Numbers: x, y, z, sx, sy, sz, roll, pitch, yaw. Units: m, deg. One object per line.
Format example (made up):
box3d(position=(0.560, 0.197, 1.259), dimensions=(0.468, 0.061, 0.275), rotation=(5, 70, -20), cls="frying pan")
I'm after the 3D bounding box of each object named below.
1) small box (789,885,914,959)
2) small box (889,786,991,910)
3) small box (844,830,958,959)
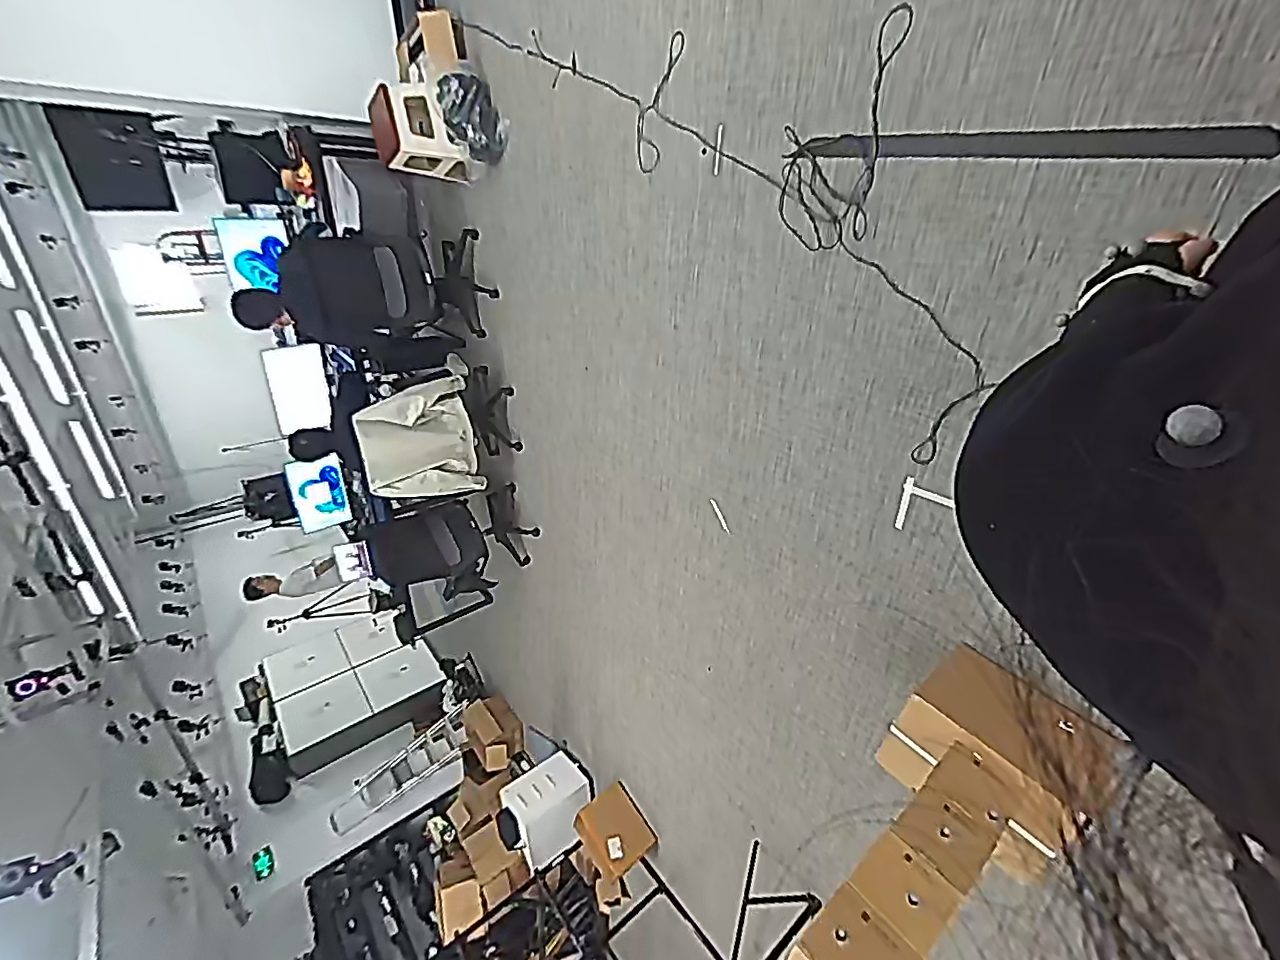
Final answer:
box3d(position=(0.394, 0.923, 1.018), dimensions=(0.168, 0.176, 0.179), rotation=(34, 133, 41), cls="small box")
box3d(position=(0.645, 0.831, 1.204), dimensions=(0.168, 0.176, 0.179), rotation=(36, 132, 39), cls="small box")
box3d(position=(0.518, 0.873, 1.110), dimensions=(0.168, 0.176, 0.179), rotation=(34, 132, 40), cls="small box")
